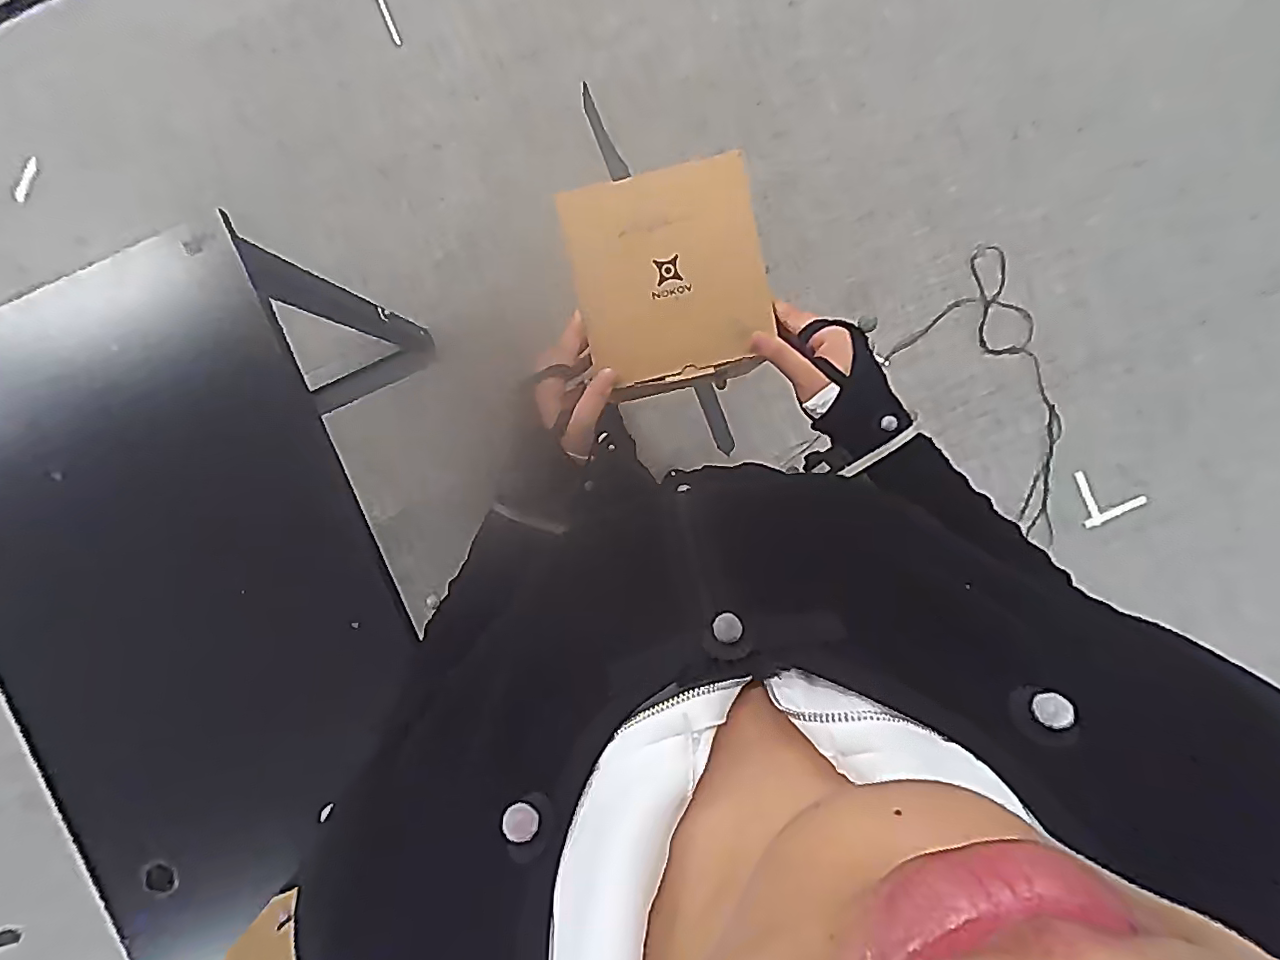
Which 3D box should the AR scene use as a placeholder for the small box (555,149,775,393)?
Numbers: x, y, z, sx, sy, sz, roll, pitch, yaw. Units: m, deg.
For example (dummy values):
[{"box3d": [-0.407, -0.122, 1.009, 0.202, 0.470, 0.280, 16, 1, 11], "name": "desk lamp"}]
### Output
[{"box3d": [0.025, -0.189, 0.549, 0.168, 0.176, 0.179, -13, 94, 1], "name": "small box"}]
